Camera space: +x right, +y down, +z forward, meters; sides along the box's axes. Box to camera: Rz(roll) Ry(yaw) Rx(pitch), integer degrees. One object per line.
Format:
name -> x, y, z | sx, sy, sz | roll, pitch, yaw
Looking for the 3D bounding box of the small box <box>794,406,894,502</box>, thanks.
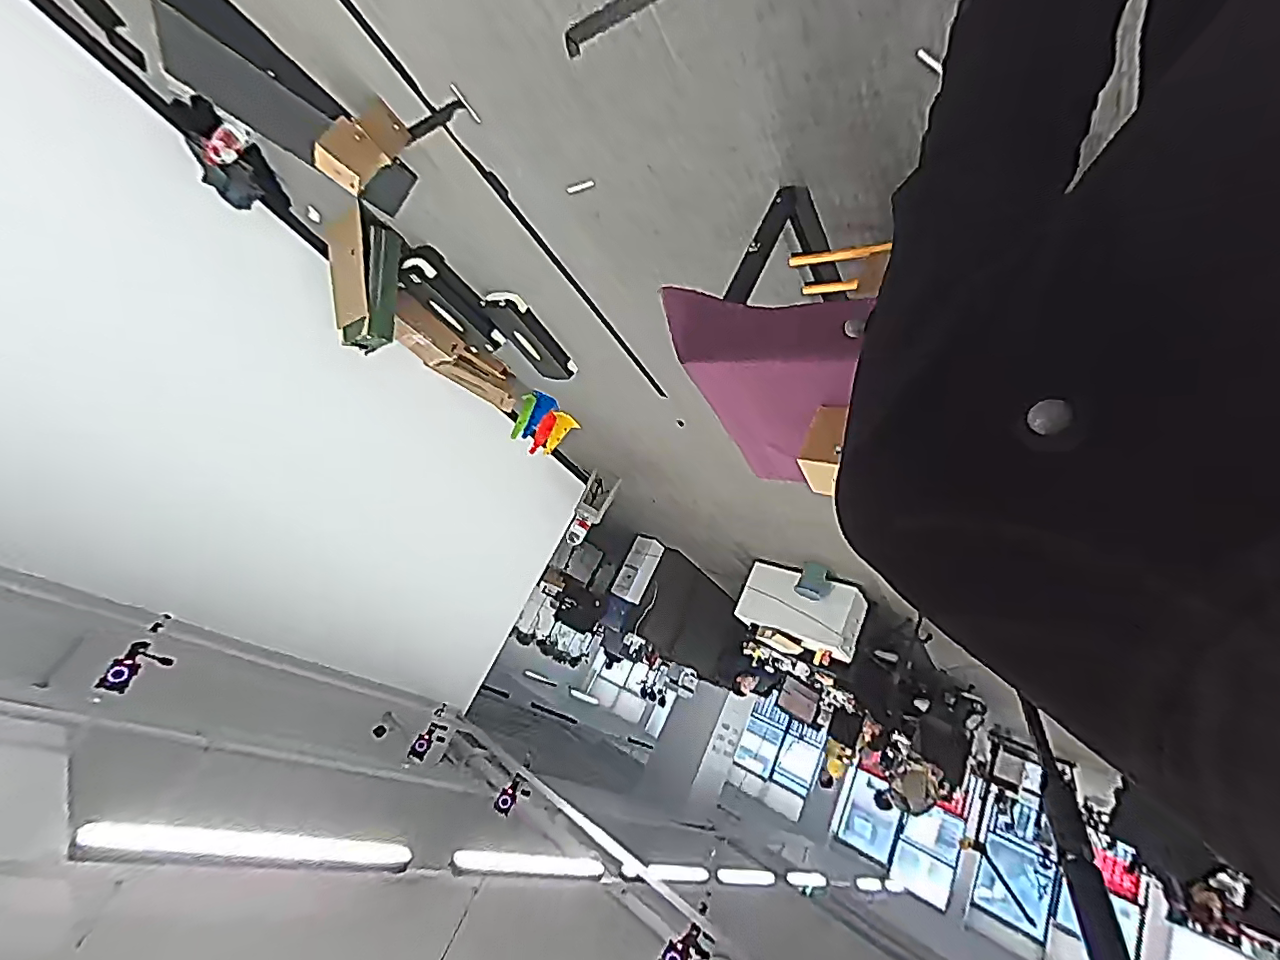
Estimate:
small box -> 0.514, -0.071, 1.354 | 0.179, 0.176, 0.168 | 12, 157, 38
